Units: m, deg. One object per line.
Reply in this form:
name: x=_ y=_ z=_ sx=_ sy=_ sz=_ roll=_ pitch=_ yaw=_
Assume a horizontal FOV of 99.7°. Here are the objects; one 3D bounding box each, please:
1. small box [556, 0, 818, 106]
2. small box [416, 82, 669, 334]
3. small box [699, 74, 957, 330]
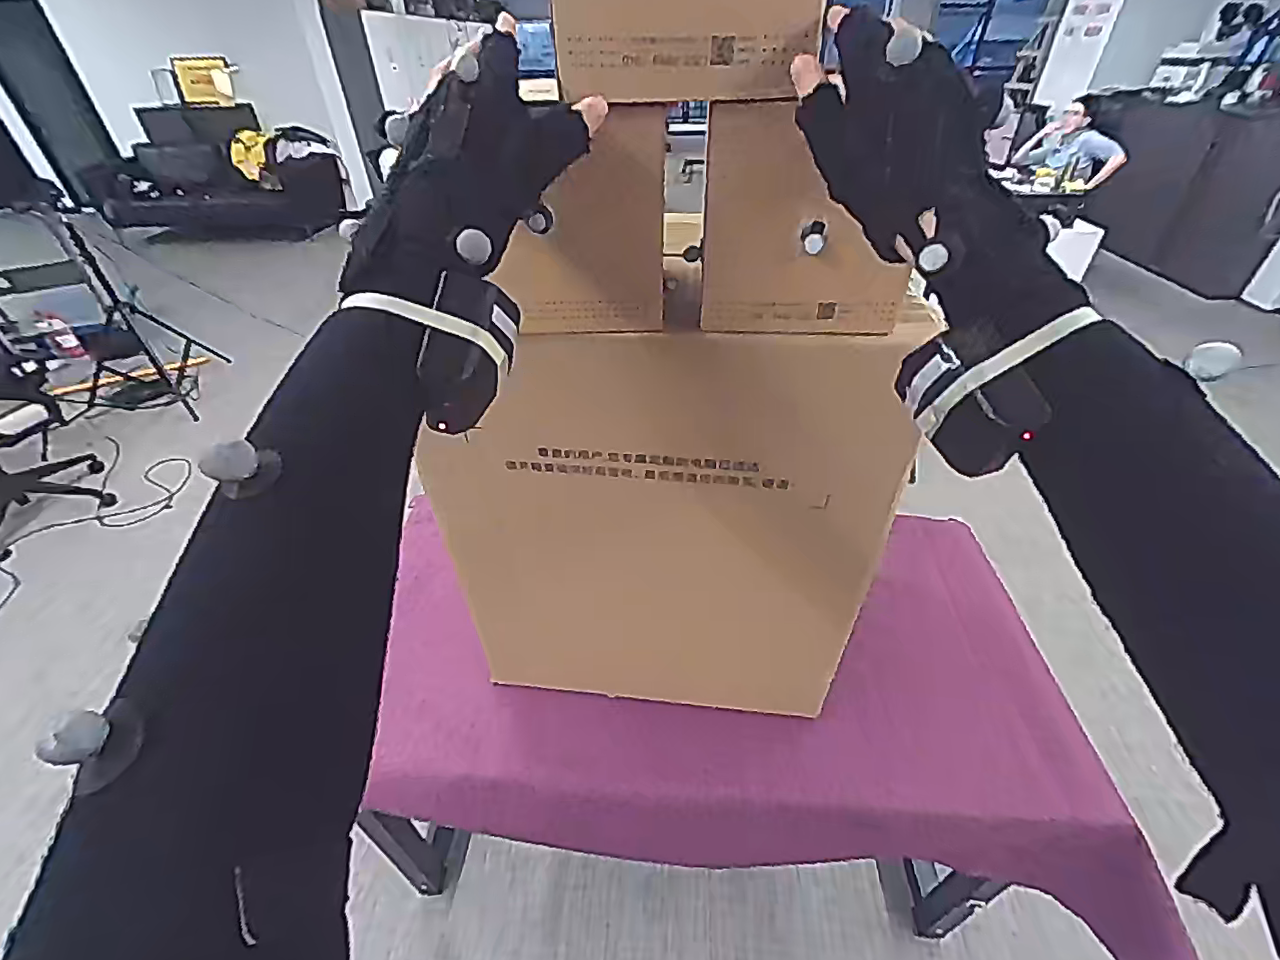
small box: x=0.025 y=-0.363 z=0.371 sx=0.168 sy=0.176 sz=0.179 roll=-3 pitch=39 yaw=-3
small box: x=-0.066 y=-0.242 z=0.482 sx=0.179 sy=0.176 sz=0.168 roll=-2 pitch=40 yaw=1
small box: x=0.140 y=-0.244 z=0.477 sx=0.168 sy=0.176 sz=0.179 roll=3 pitch=40 yaw=4
